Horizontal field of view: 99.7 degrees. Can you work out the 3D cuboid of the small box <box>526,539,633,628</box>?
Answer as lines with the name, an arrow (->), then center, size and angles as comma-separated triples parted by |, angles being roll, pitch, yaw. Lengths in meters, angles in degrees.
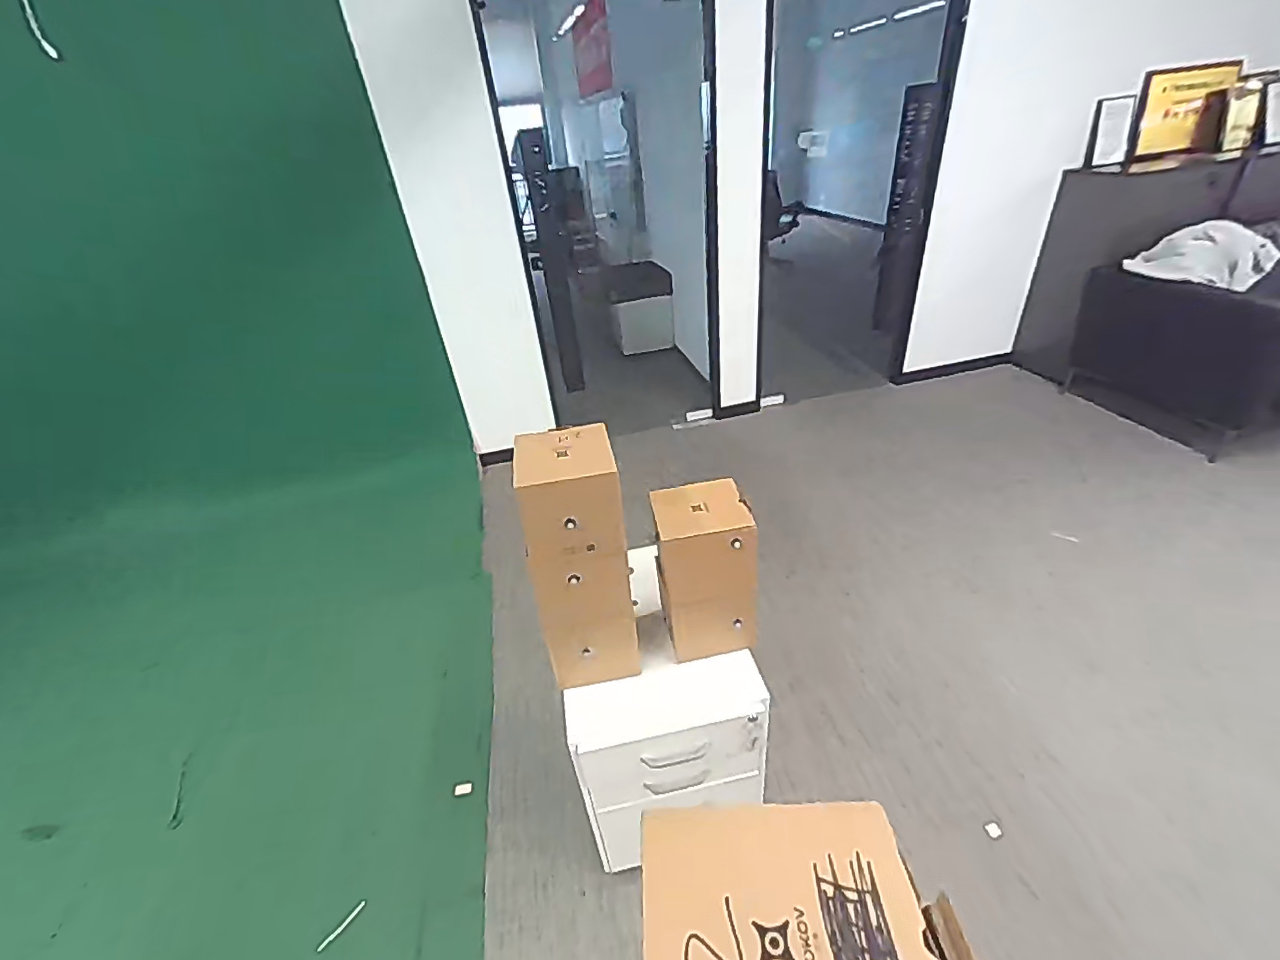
small box -> -0.116, 0.160, 1.034 | 0.179, 0.176, 0.168 | -9, 34, -7

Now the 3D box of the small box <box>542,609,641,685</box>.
small box -> -0.102, 0.299, 1.121 | 0.179, 0.176, 0.168 | -9, 34, -6

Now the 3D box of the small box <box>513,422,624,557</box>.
small box -> -0.124, 0.020, 0.948 | 0.168, 0.176, 0.179 | -8, 34, -7

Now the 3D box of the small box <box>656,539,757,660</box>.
small box -> 0.138, 0.254, 1.153 | 0.179, 0.176, 0.168 | -11, 33, -4
